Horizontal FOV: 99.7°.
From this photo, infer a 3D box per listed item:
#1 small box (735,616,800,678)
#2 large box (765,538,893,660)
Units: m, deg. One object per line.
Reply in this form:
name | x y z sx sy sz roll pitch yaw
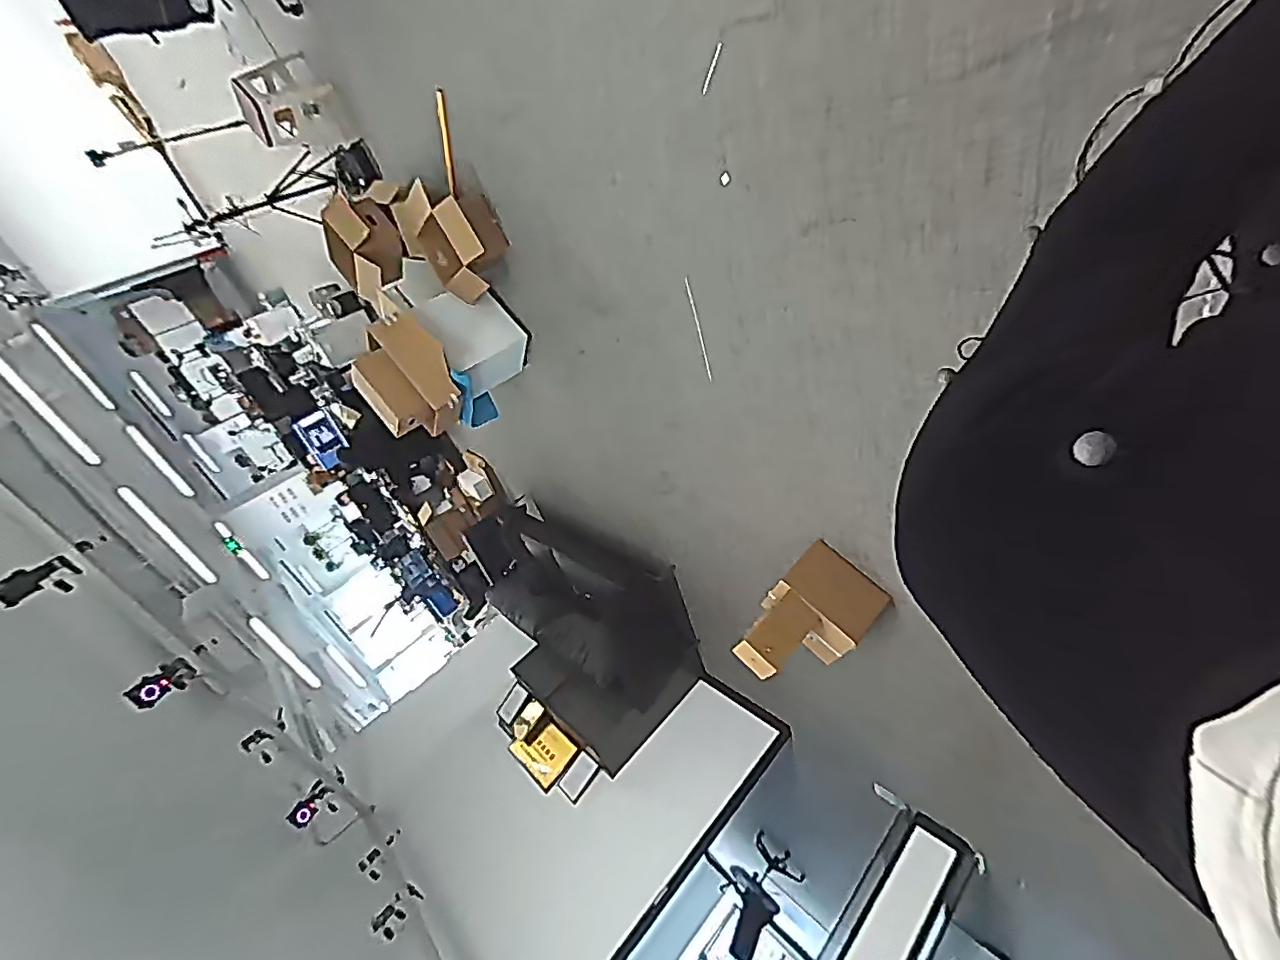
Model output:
small box | 0.538 0.698 2.288 0.179 0.176 0.168 42 150 15
large box | 0.862 0.547 2.504 0.408 0.320 0.320 40 152 19
